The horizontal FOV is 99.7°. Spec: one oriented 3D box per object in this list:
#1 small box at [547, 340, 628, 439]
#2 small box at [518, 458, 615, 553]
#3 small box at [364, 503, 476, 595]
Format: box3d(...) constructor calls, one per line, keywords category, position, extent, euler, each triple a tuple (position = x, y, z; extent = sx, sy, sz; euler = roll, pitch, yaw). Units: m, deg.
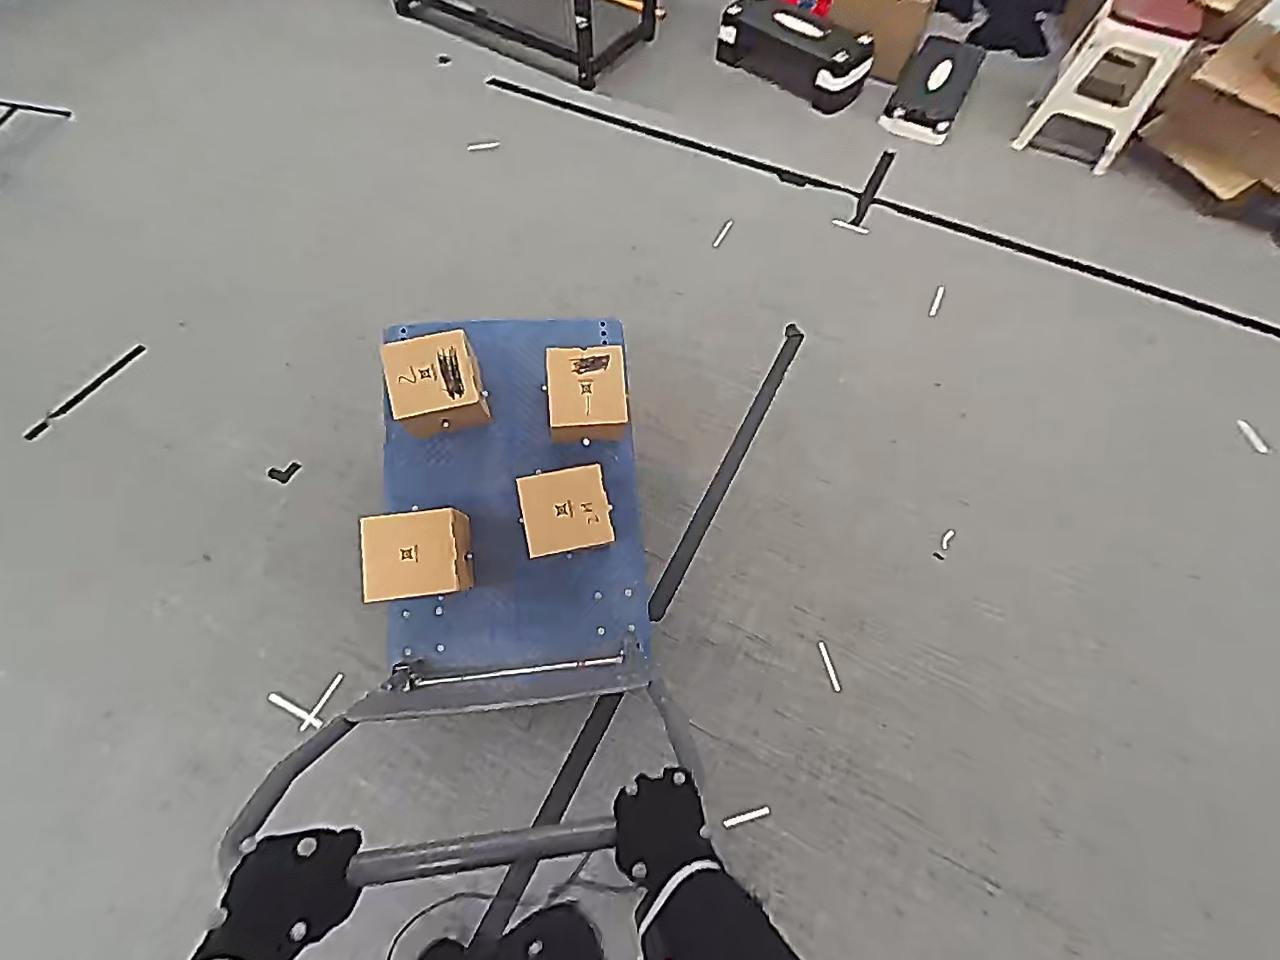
box3d(category="small box", position=(-0.121, -0.200, 1.227), extent=(0.168, 0.176, 0.179), euler=(-5, 82, -6))
box3d(category="small box", position=(-0.157, 0.062, 1.179), extent=(0.179, 0.176, 0.168), euler=(-11, 82, -8))
box3d(category="small box", position=(-0.454, 0.149, 1.133), extent=(0.179, 0.176, 0.168), euler=(-7, 81, -9))
